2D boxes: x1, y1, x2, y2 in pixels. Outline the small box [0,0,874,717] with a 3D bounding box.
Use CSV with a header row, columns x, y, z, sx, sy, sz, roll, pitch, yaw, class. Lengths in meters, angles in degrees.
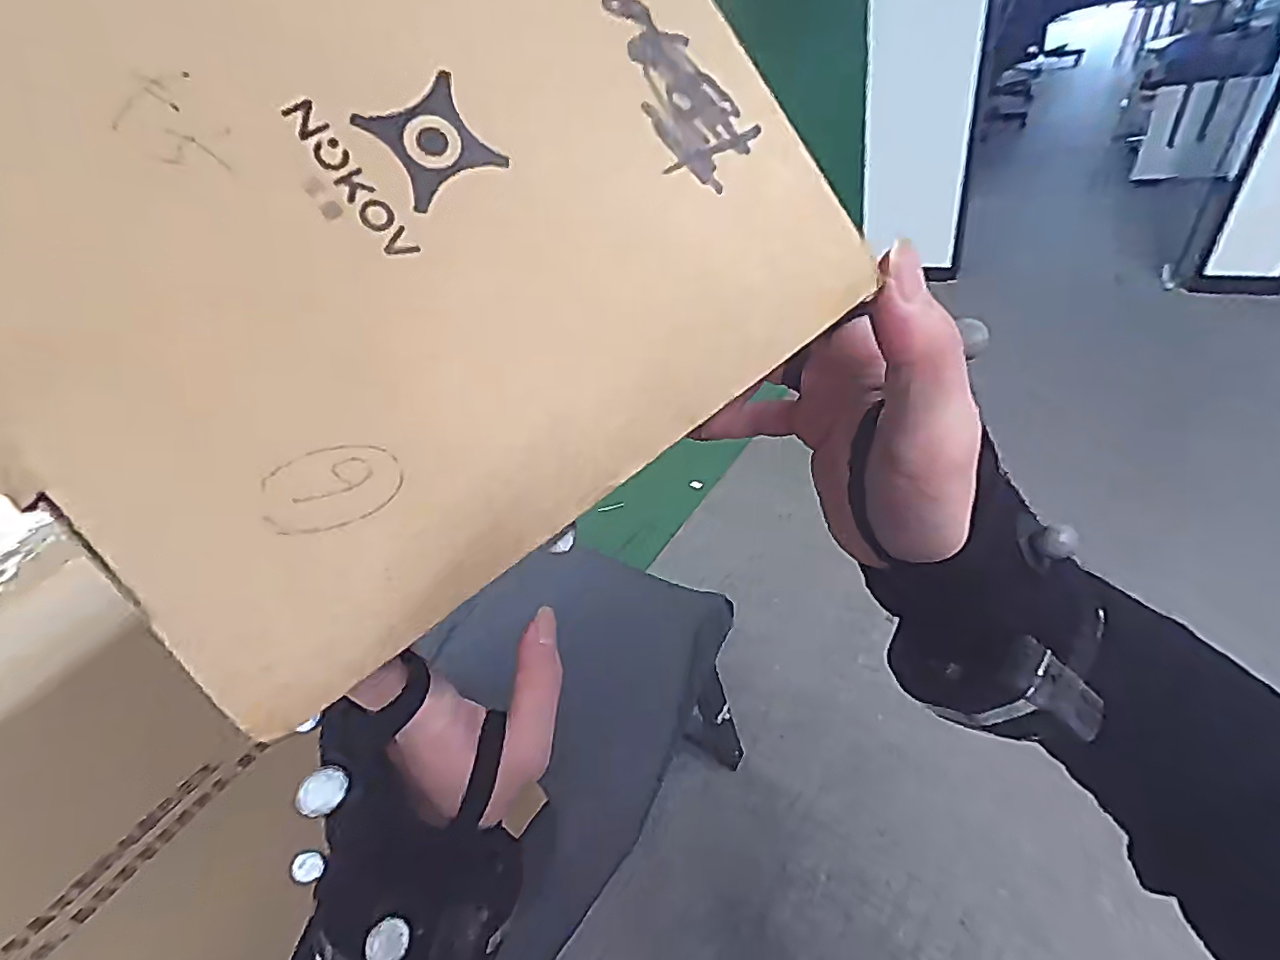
x,y,z,sx,sy,sz,roll,pitch,yaw,class
-0.068,-0.062,0.195,0.179,0.168,0.176,-36,6,-12,small box
